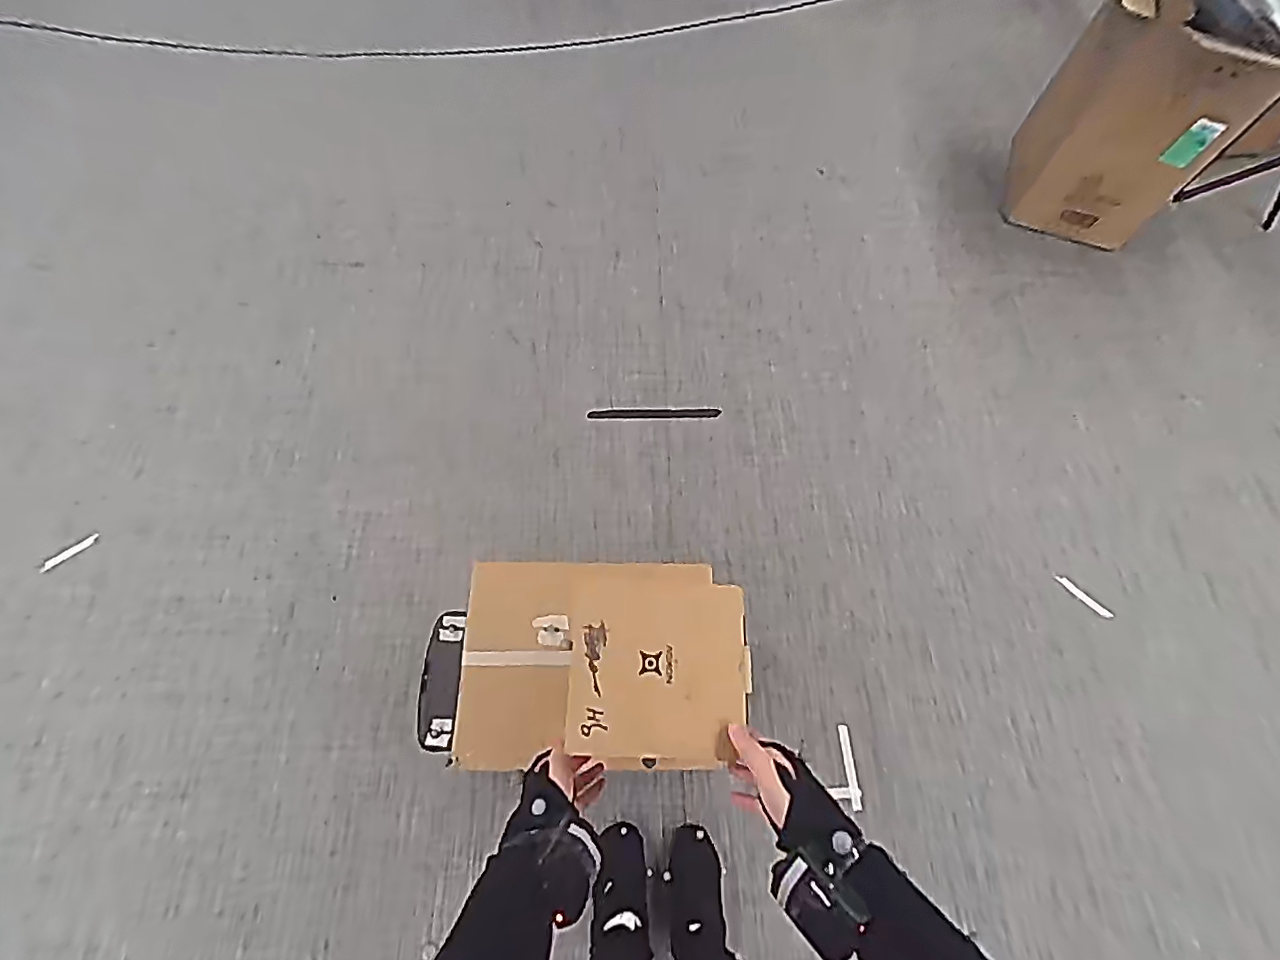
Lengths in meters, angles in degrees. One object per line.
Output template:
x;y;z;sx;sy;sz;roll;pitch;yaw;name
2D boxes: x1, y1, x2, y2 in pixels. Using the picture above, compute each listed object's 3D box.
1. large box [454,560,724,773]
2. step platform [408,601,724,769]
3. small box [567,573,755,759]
-0.077;0.337;0.984;0.408;0.320;0.320;0;66;-1;large box
-0.138;0.447;1.193;0.684;0.204;0.286;5;67;1;step platform
0.019;0.207;0.598;0.179;0.176;0.168;3;66;-2;small box
